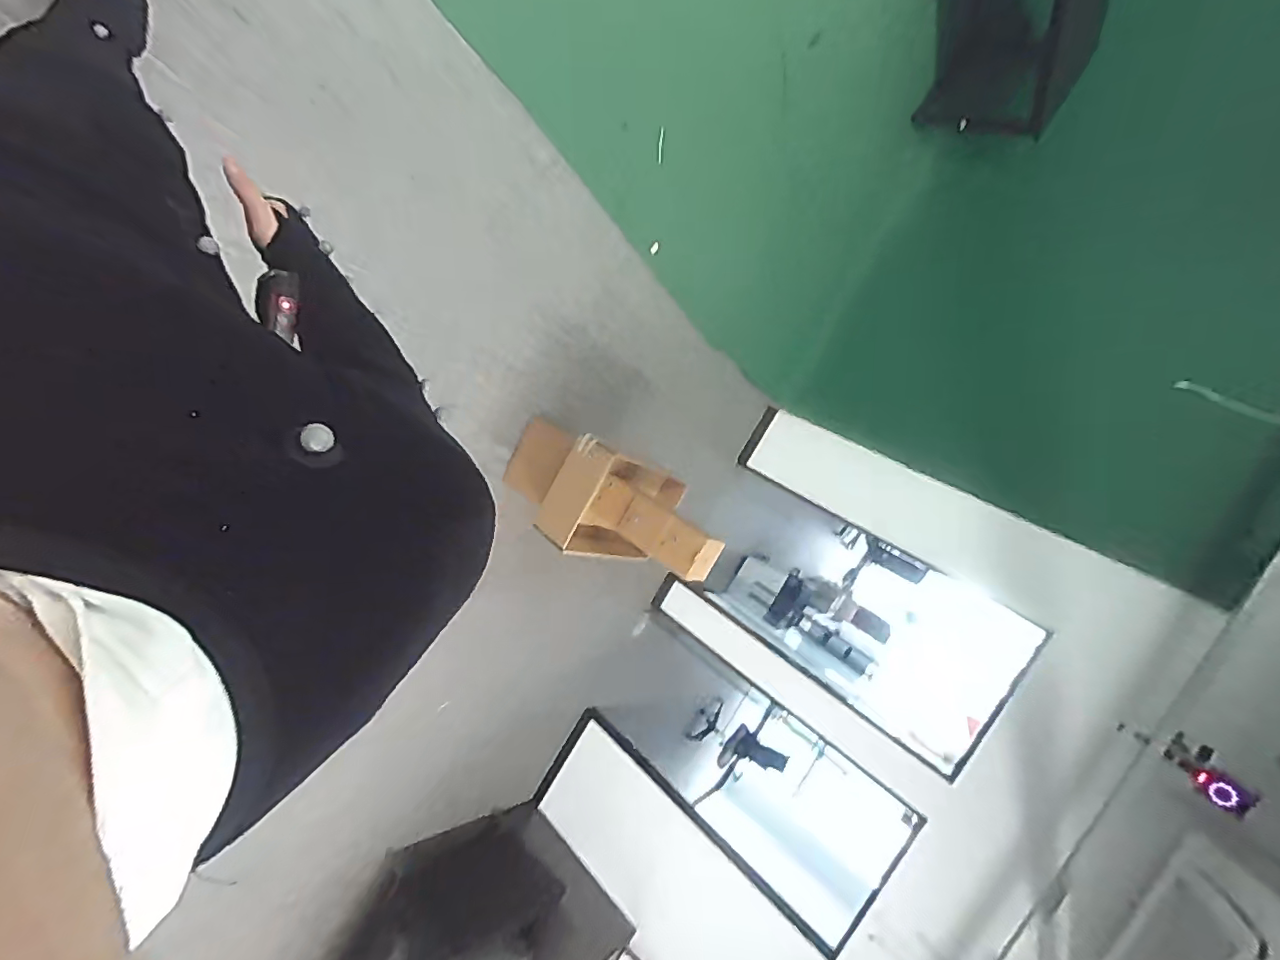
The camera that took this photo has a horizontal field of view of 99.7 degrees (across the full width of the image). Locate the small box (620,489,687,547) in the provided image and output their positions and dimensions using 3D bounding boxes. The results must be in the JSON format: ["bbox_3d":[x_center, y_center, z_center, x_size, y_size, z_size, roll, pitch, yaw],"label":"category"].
[{"bbox_3d":[0.056,0.147,2.044,0.179,0.176,0.168,19,101,-59],"label":"small box"}]

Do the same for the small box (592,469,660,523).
[{"bbox_3d":[-0.058,0.072,2.137,0.168,0.176,0.179,-60,150,5],"label":"small box"}]

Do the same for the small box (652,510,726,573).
[{"bbox_3d":[0.177,0.222,1.965,0.179,0.176,0.168,19,102,-58],"label":"small box"}]
